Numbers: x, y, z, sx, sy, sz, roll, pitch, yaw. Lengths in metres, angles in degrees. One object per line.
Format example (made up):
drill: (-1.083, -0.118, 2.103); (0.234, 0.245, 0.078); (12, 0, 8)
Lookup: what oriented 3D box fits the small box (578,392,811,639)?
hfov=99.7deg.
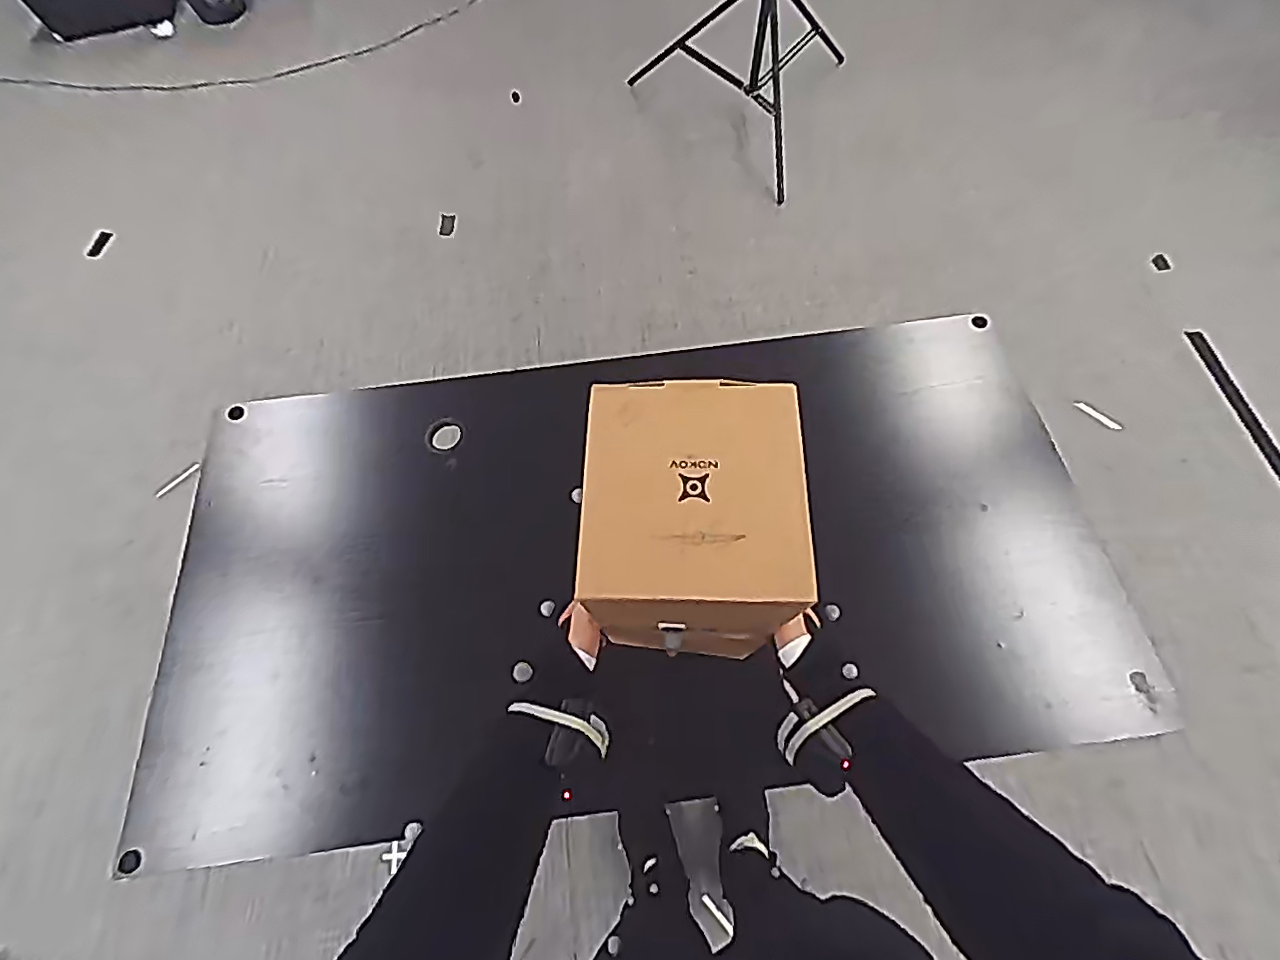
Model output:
small box: (0.043, 0.040, 0.482); (0.168, 0.176, 0.179); (0, 67, 3)

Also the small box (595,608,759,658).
small box: (0.051, 0.103, 0.631); (0.168, 0.176, 0.179); (6, 66, 5)
